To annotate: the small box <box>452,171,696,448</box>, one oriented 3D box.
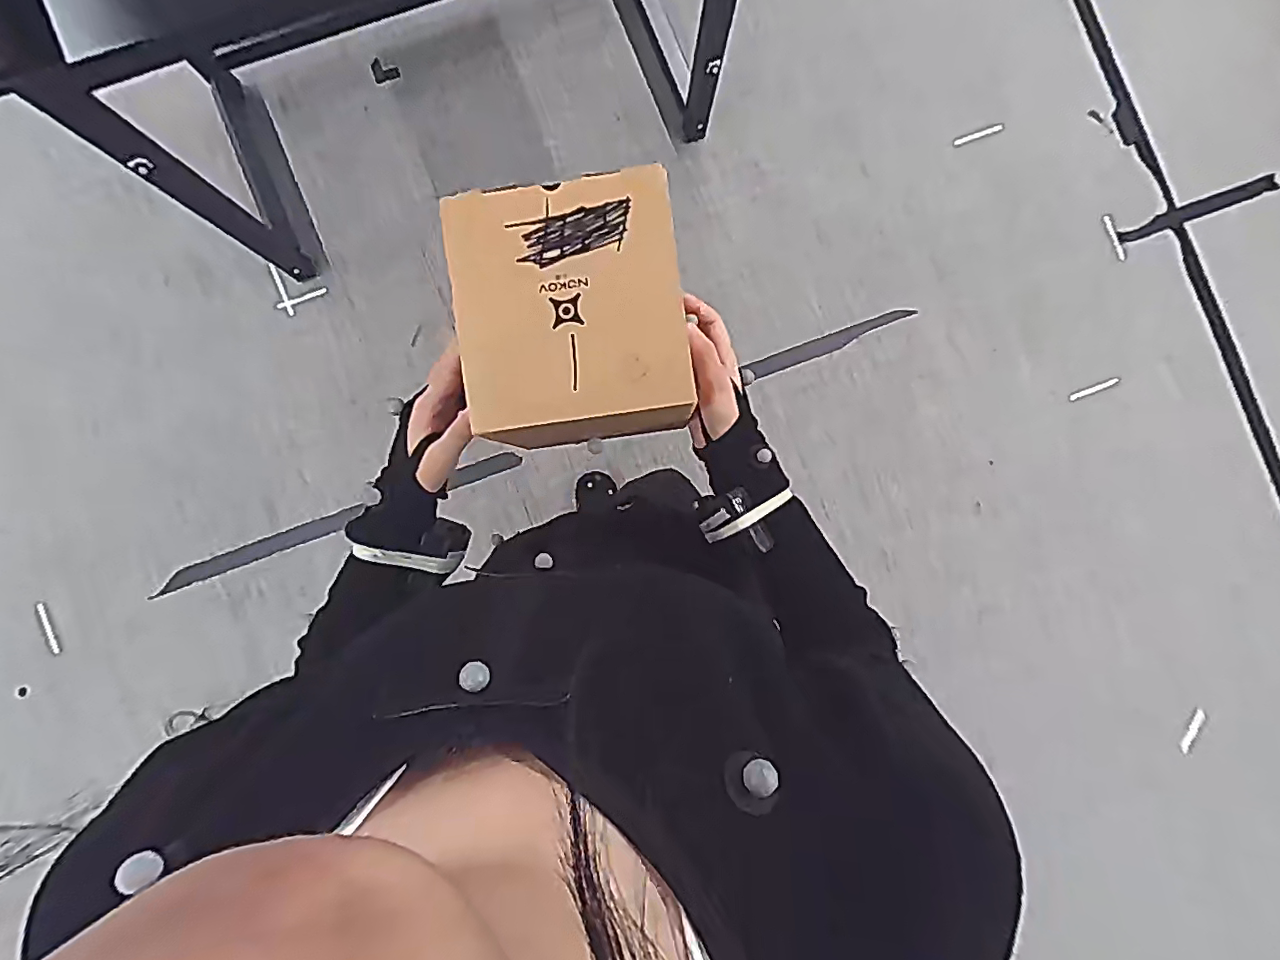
[{"bbox_3d":[-0.047,-0.129,0.473,0.168,0.176,0.179,-7,89,2],"label":"small box"}]
